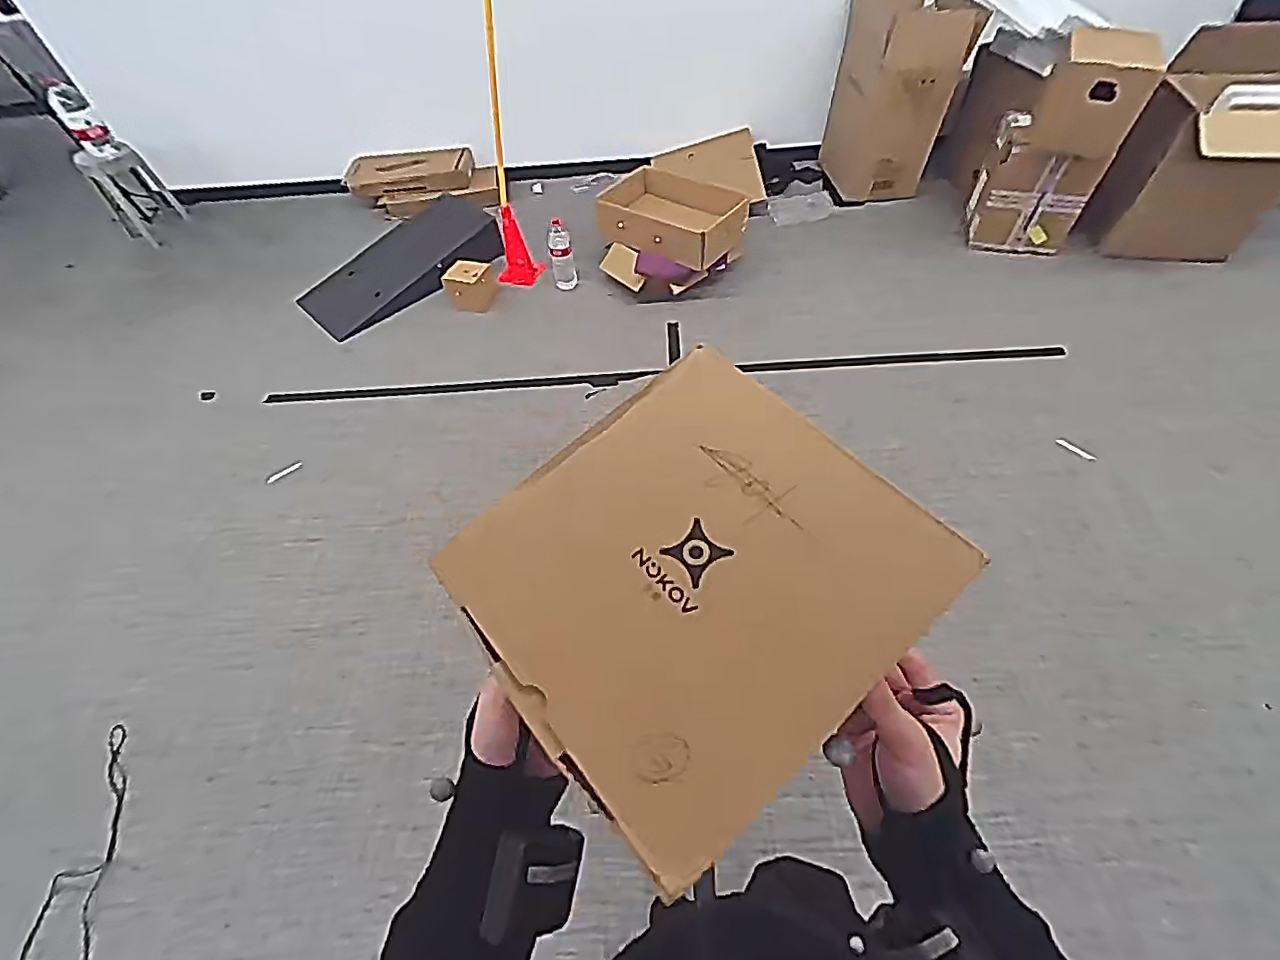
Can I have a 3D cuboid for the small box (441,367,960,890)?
[{"bbox_3d":[0.030,0.079,0.310,0.179,0.176,0.168,-40,65,-14],"label":"small box"}]
